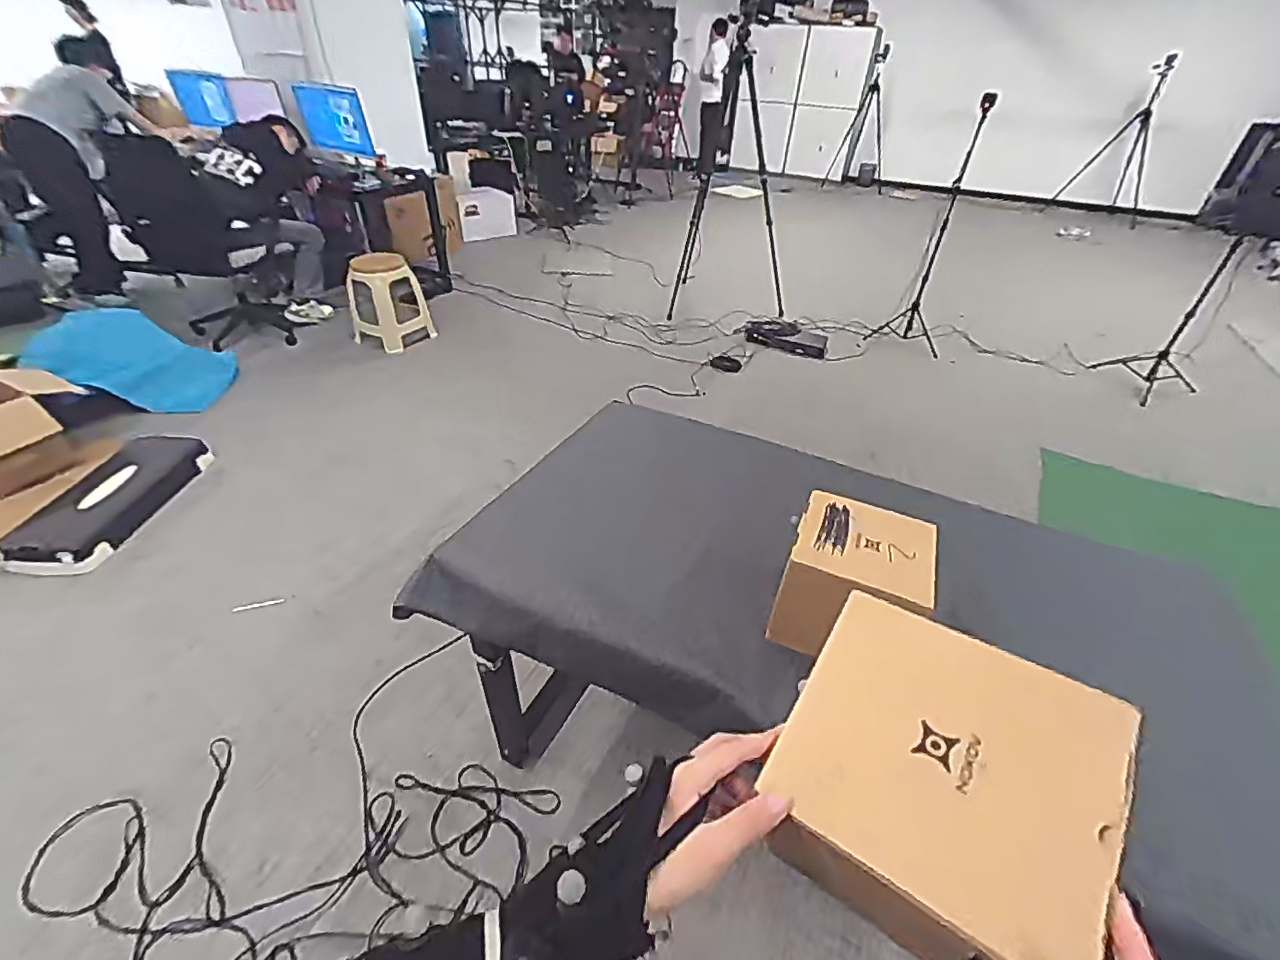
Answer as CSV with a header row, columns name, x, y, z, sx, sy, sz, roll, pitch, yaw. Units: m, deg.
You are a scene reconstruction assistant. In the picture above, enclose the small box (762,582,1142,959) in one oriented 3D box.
name,x,y,z,sx,sy,sz,roll,pitch,yaw
small box,0.204,0.211,0.388,0.179,0.176,0.168,21,56,30
